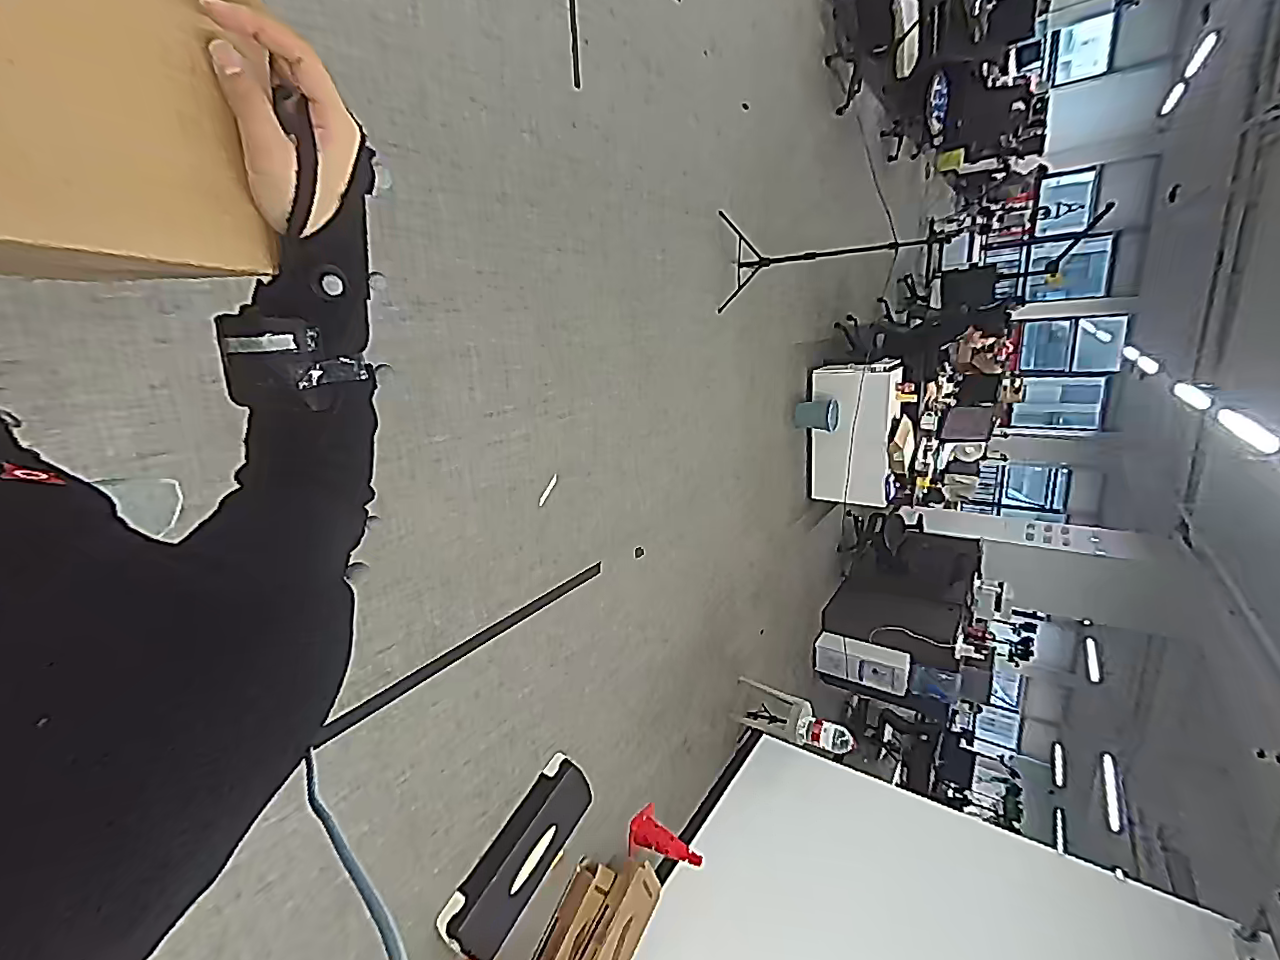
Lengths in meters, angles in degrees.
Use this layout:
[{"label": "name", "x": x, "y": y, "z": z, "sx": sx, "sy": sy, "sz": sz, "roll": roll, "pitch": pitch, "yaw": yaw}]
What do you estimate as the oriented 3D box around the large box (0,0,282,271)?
[{"label": "large box", "x": -0.449, "y": -0.271, "z": 0.210, "sx": 0.408, "sy": 0.320, "sz": 0.320, "roll": -21, "pitch": 118, "yaw": -58}]
